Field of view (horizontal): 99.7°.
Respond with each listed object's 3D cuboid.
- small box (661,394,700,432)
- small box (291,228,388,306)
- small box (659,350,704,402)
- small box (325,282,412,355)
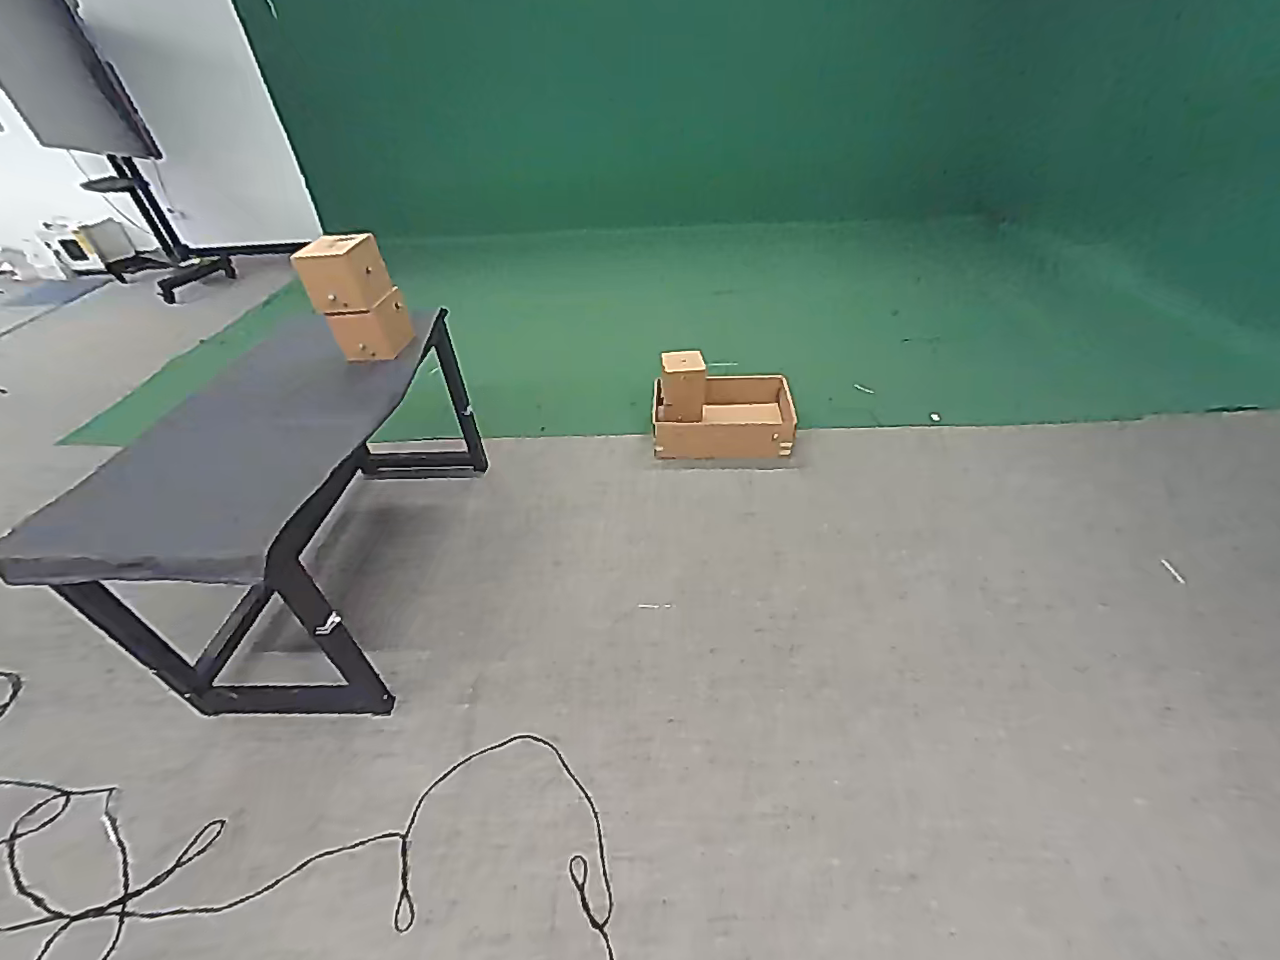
[{"bbox_3d":[0.188,-0.333,2.493,0.179,0.176,0.168,1,42,5],"label":"small box"},{"bbox_3d":[-0.875,-0.629,1.600,0.168,0.176,0.179,0,42,7],"label":"small box"},{"bbox_3d":[0.178,-0.456,2.385,0.179,0.176,0.168,-4,42,-4],"label":"small box"},{"bbox_3d":[-0.852,-0.515,1.717,0.168,0.176,0.179,1,42,8],"label":"small box"}]
